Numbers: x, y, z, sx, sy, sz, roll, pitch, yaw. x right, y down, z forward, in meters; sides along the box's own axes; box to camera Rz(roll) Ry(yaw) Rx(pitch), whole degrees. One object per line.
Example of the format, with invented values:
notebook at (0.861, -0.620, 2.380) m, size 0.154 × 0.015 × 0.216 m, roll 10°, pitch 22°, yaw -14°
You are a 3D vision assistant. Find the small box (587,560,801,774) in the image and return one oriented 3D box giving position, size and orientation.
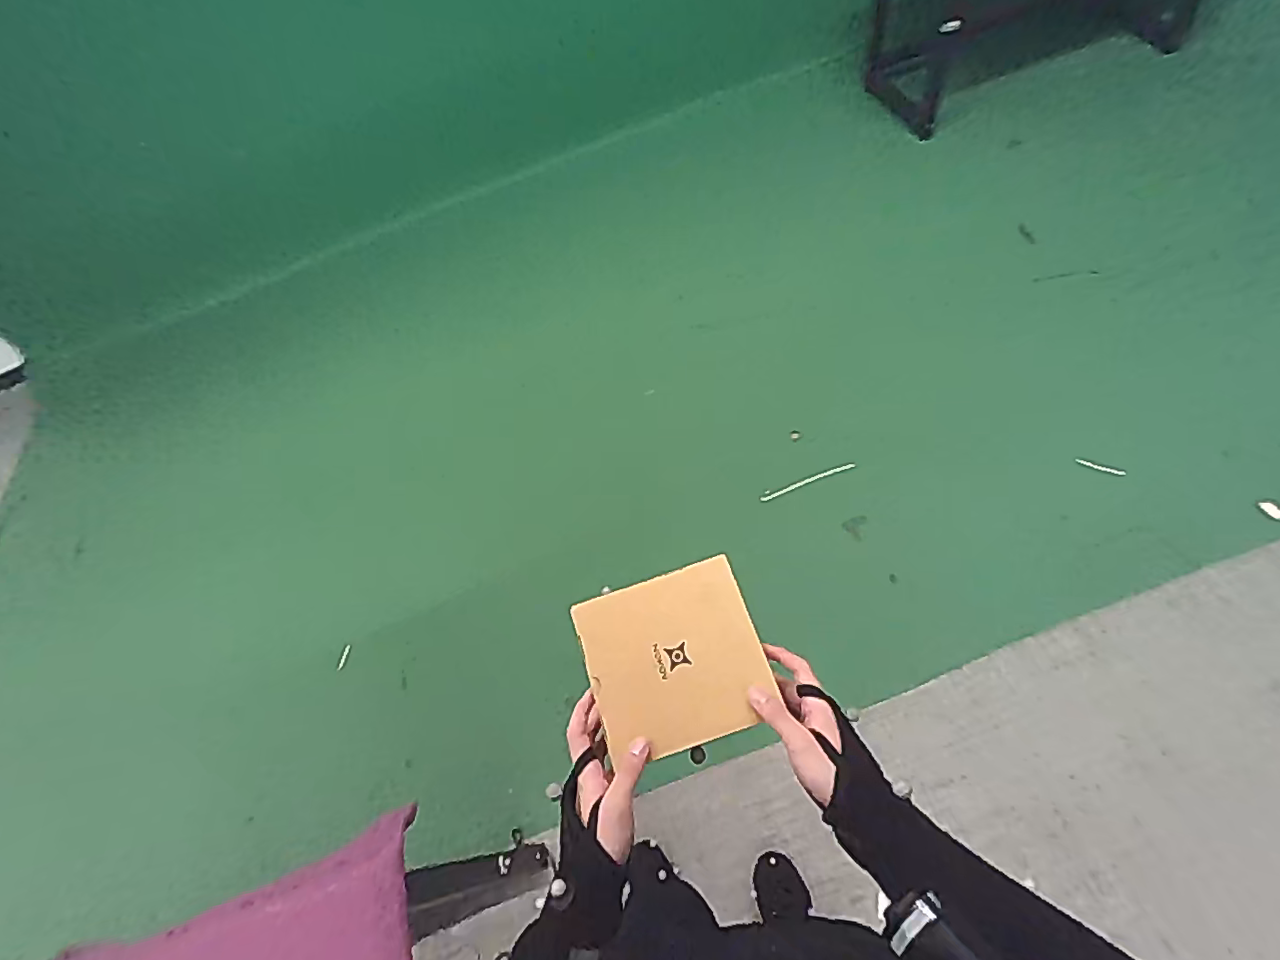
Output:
small box at (0.056, 0.207, 0.609) m, size 0.179 × 0.176 × 0.168 m, roll -18°, pitch 67°, yaw 0°
